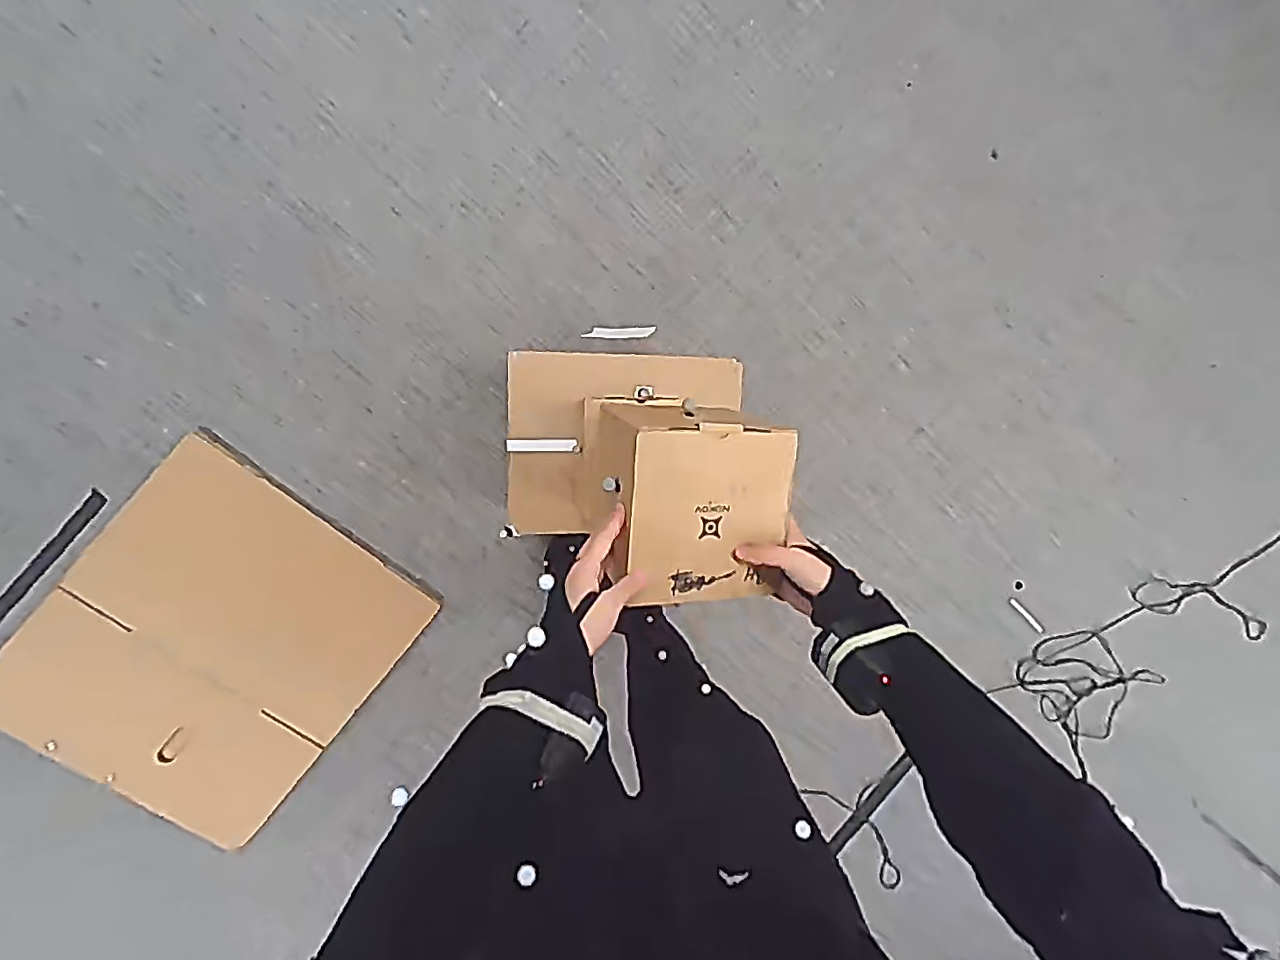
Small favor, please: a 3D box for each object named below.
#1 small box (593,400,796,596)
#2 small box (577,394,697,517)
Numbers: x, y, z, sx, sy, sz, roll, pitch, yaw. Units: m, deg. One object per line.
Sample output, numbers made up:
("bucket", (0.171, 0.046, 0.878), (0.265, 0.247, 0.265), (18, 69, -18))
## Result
("small box", (0.046, 0.008, 0.594), (0.168, 0.176, 0.179), (0, 105, -17))
("small box", (-0.011, -0.042, 0.851), (0.168, 0.176, 0.179), (-2, 97, -10))
